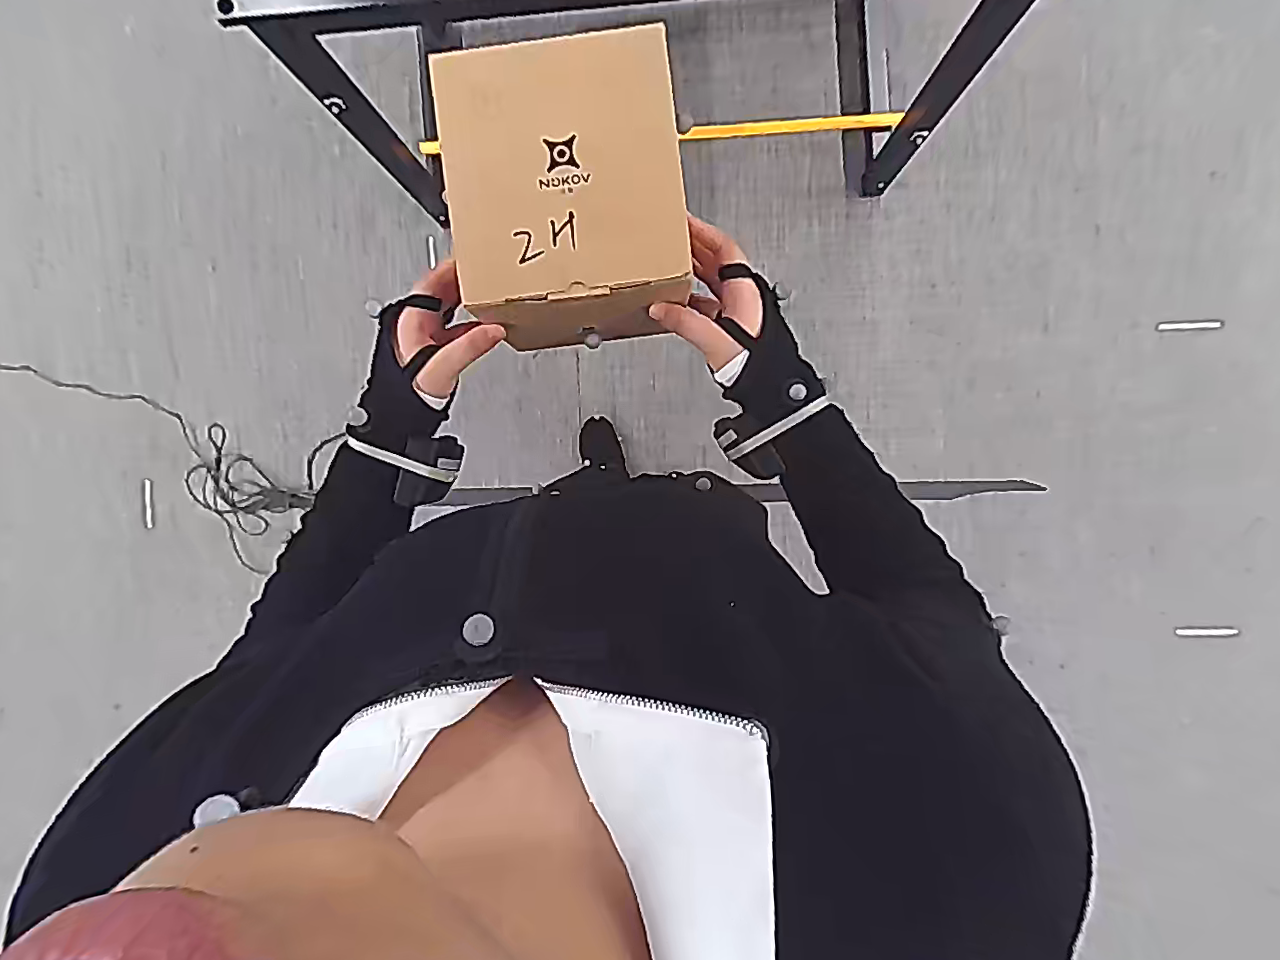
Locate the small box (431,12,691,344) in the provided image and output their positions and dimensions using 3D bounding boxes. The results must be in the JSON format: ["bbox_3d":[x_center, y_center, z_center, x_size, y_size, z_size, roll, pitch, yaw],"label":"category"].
[{"bbox_3d":[-0.053,-0.225,0.449,0.168,0.176,0.179,-7,92,1],"label":"small box"}]
